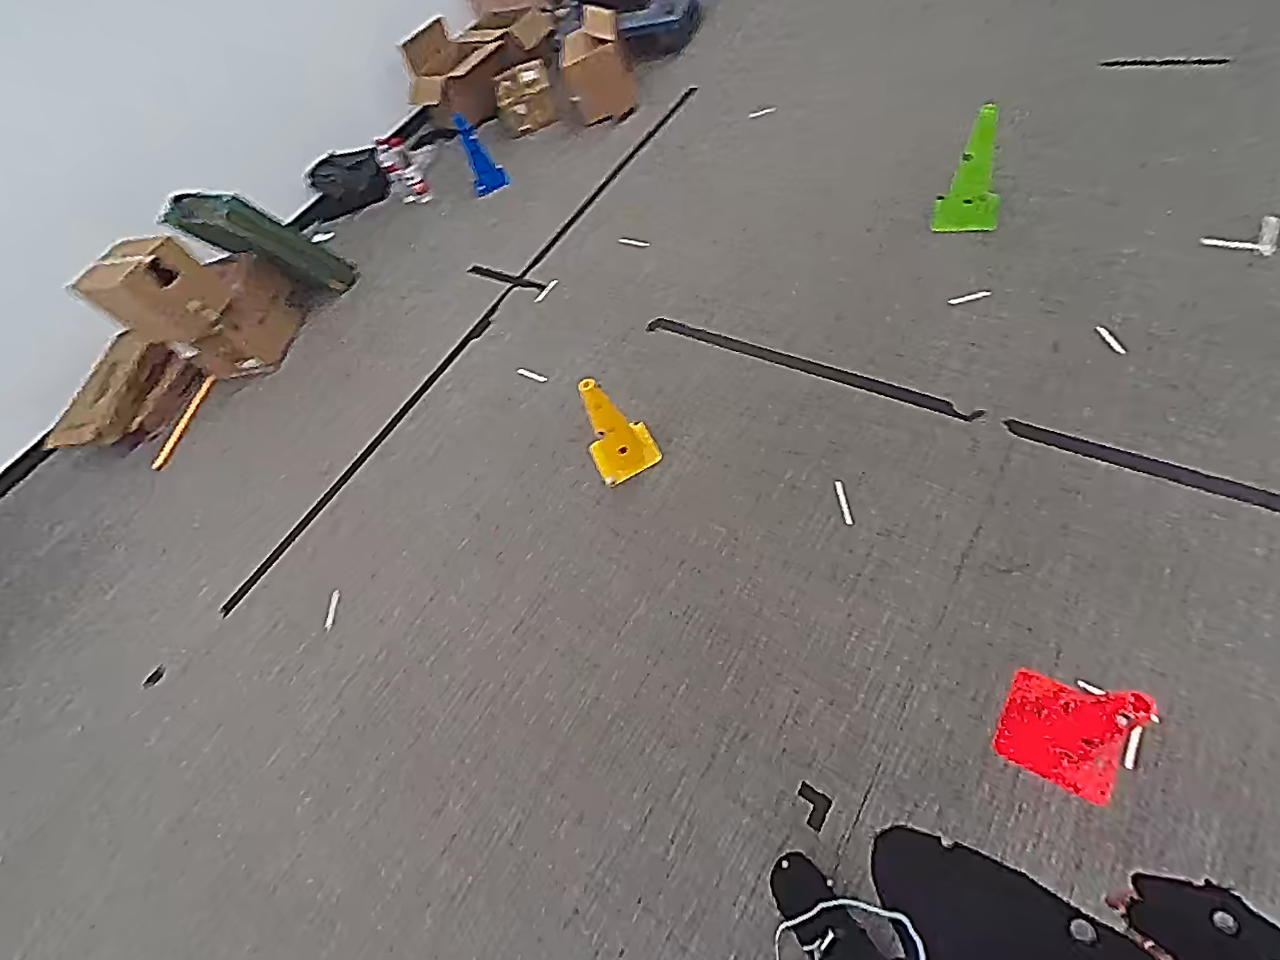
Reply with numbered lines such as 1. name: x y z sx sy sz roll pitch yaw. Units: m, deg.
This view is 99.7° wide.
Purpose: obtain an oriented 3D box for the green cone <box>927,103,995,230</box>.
1. green cone: 1.107 -1.054 1.807 0.202 0.368 0.200 9 63 22

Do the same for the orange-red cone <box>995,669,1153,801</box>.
1. orange-red cone: 0.818 0.429 0.979 0.199 0.360 0.198 23 68 30
